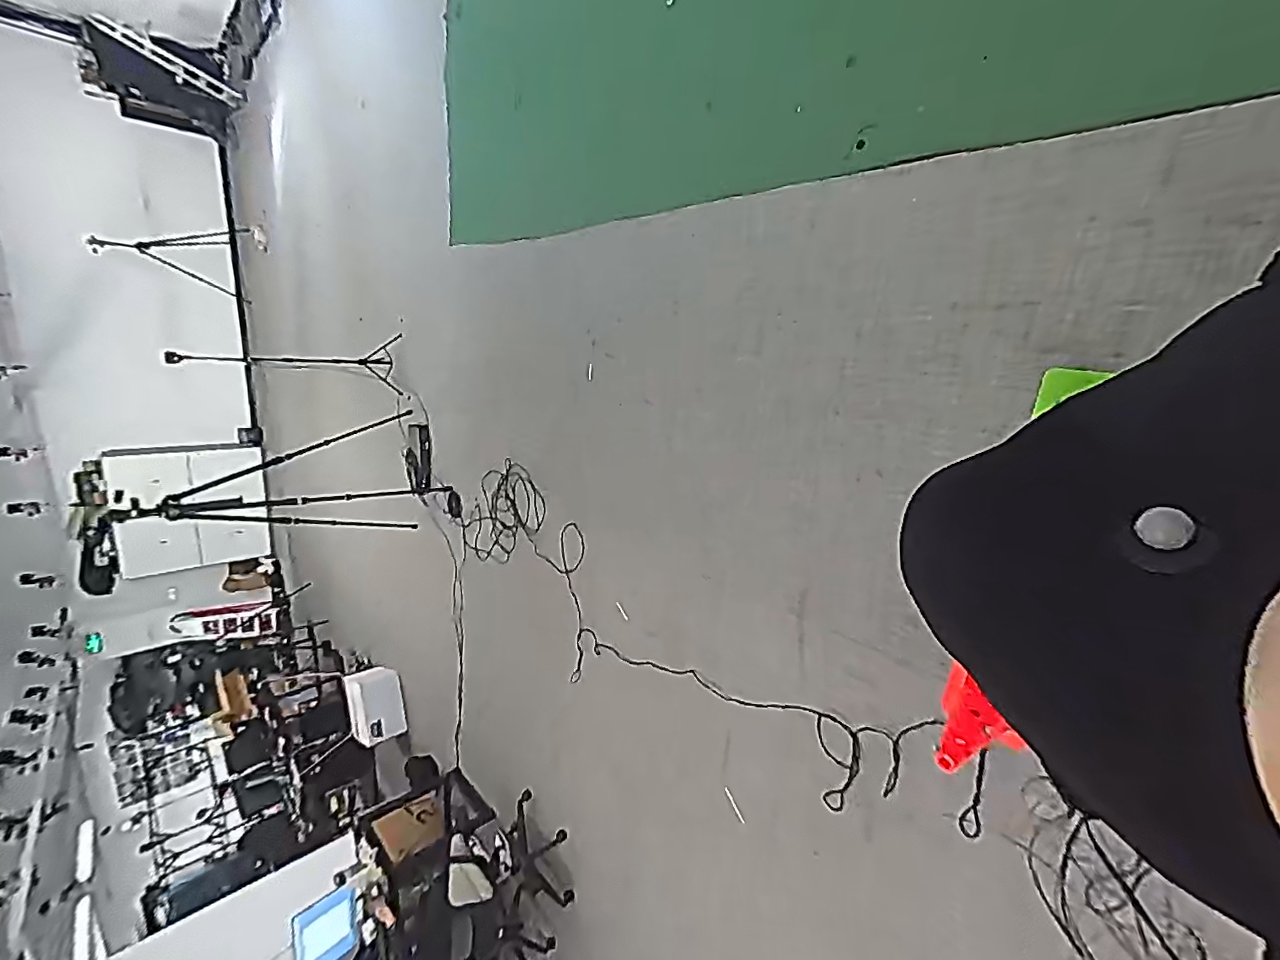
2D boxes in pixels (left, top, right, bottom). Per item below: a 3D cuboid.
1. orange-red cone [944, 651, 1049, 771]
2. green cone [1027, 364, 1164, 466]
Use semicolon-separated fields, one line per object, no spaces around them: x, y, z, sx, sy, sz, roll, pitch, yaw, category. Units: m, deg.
0.787;0.578;1.268;0.198;0.360;0.199;23;112;41;orange-red cone
0.855;-0.120;1.061;0.200;0.368;0.202;20;113;44;green cone
